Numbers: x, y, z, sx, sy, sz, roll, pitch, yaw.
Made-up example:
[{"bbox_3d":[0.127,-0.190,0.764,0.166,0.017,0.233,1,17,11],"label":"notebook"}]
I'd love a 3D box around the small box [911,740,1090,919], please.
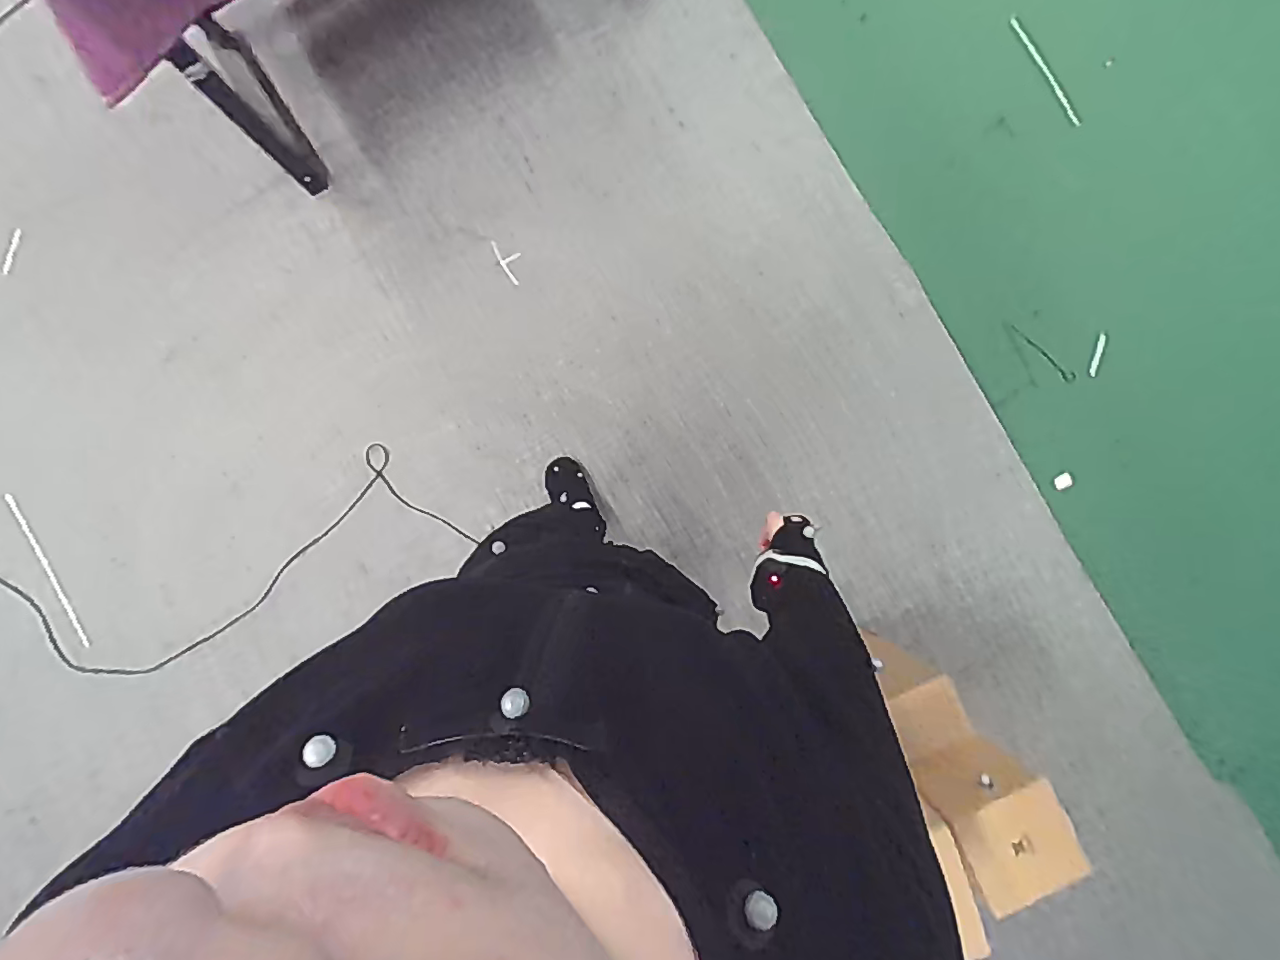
[{"bbox_3d":[0.603,0.590,0.938,0.179,0.176,0.168,-24,88,-1],"label":"small box"}]
